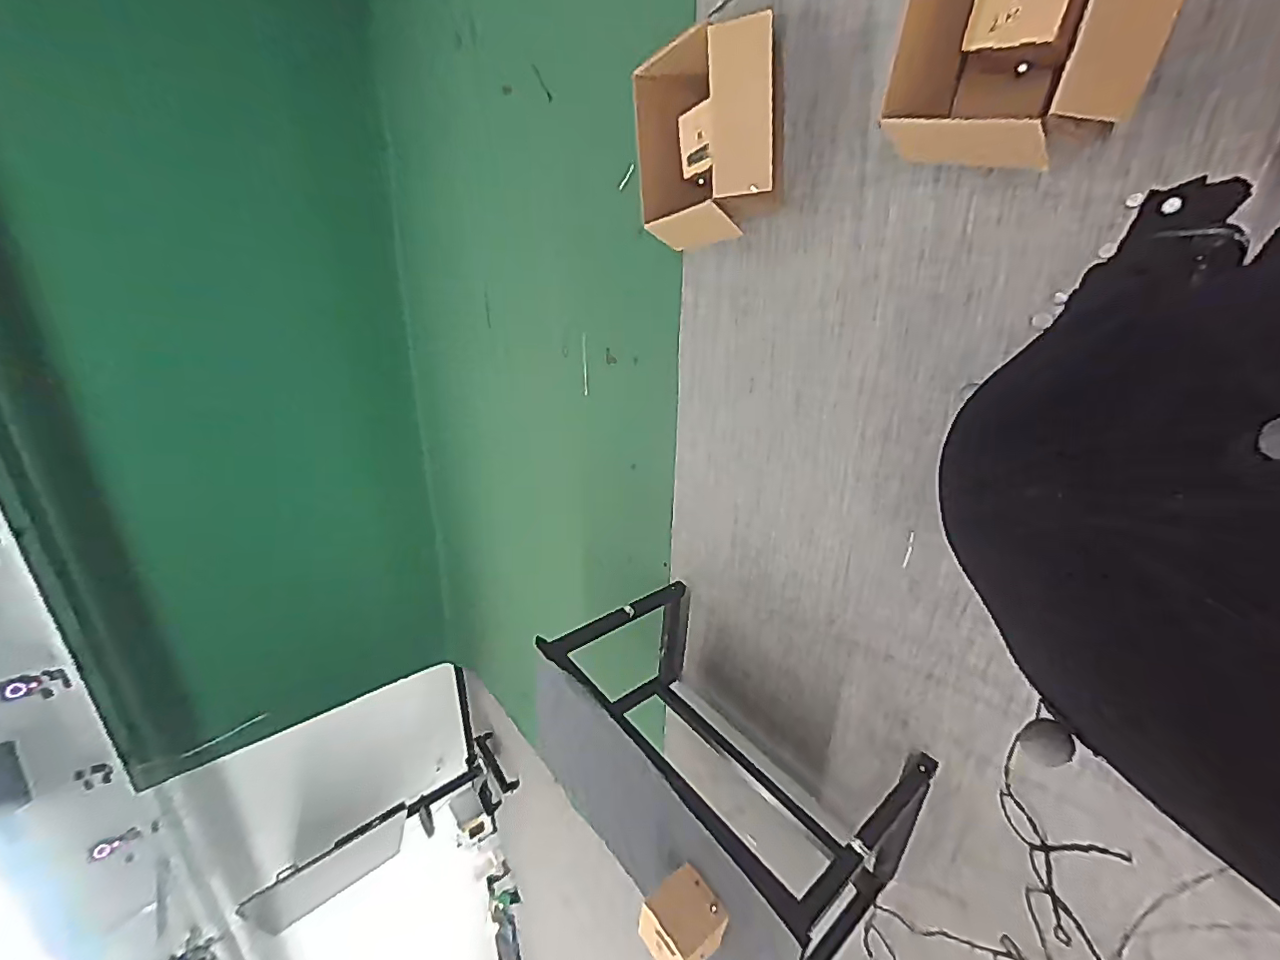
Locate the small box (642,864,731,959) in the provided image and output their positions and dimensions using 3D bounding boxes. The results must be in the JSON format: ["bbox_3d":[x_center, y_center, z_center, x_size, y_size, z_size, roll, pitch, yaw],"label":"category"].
[{"bbox_3d":[0.127,1.200,1.466,0.168,0.176,0.179,33,129,41],"label":"small box"}]
